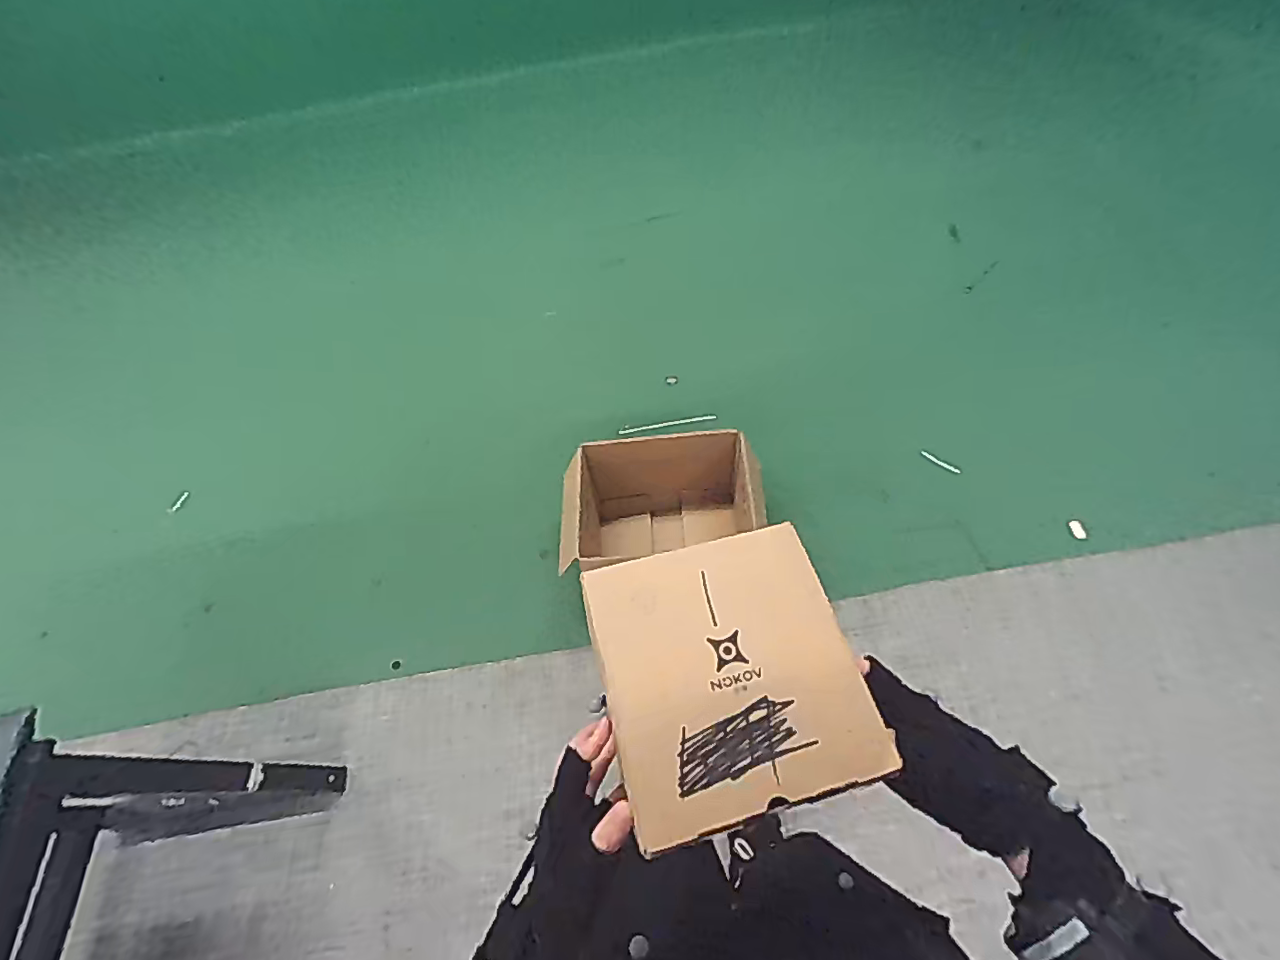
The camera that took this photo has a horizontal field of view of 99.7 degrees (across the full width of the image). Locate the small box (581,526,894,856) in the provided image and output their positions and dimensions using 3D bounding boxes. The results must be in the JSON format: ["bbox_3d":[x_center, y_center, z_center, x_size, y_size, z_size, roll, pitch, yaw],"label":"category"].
[{"bbox_3d":[0.055,0.162,0.425,0.168,0.176,0.179,-12,61,-9],"label":"small box"}]
